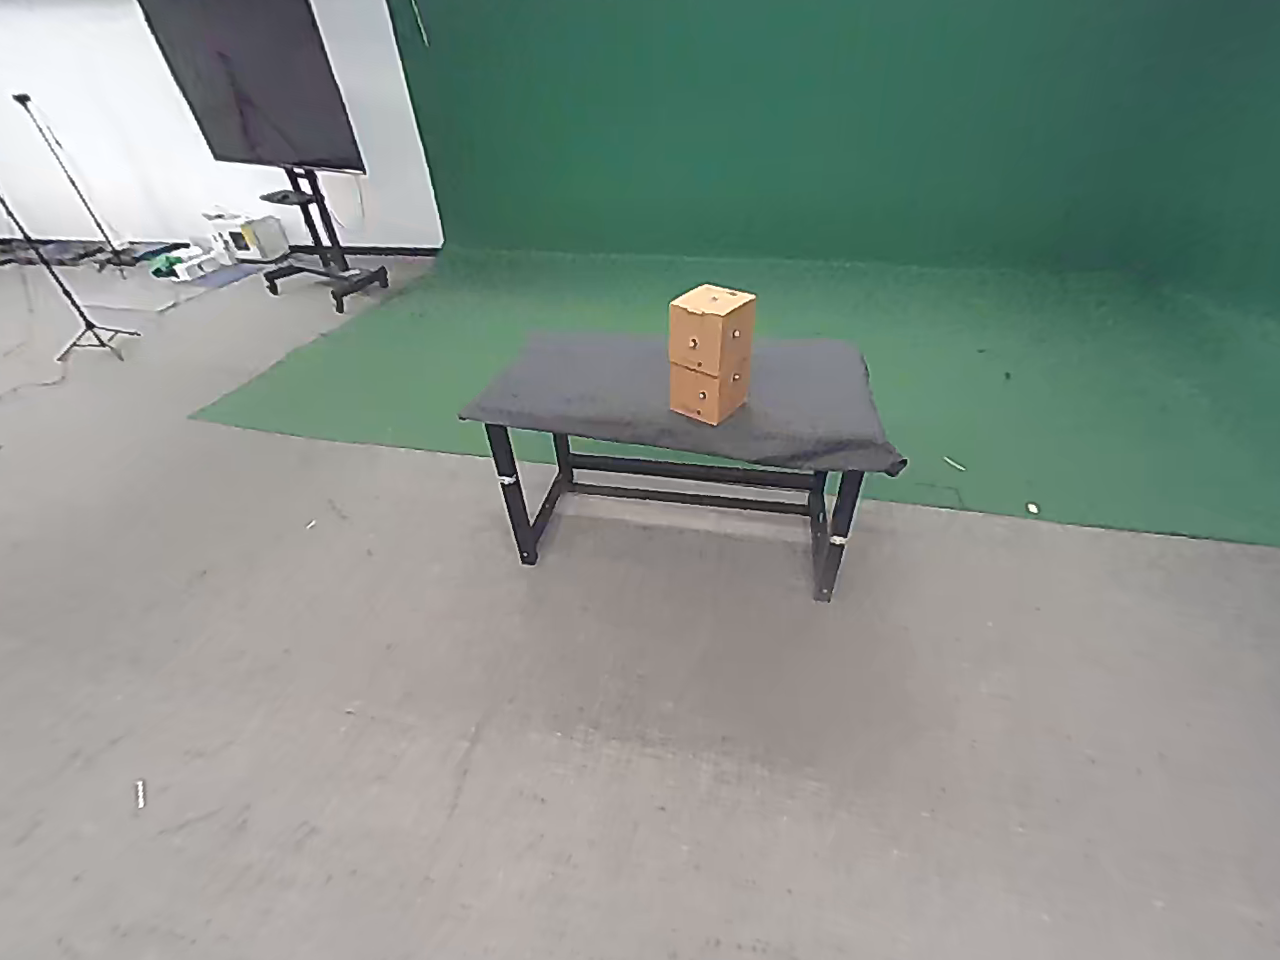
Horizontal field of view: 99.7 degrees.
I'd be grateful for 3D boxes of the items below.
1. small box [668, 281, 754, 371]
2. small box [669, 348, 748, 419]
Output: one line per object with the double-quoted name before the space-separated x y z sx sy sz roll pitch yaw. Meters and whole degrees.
"small box" 0.192 -0.420 1.472 0.168 0.176 0.179 26 48 29
"small box" 0.199 -0.300 1.585 0.168 0.176 0.179 26 46 29
